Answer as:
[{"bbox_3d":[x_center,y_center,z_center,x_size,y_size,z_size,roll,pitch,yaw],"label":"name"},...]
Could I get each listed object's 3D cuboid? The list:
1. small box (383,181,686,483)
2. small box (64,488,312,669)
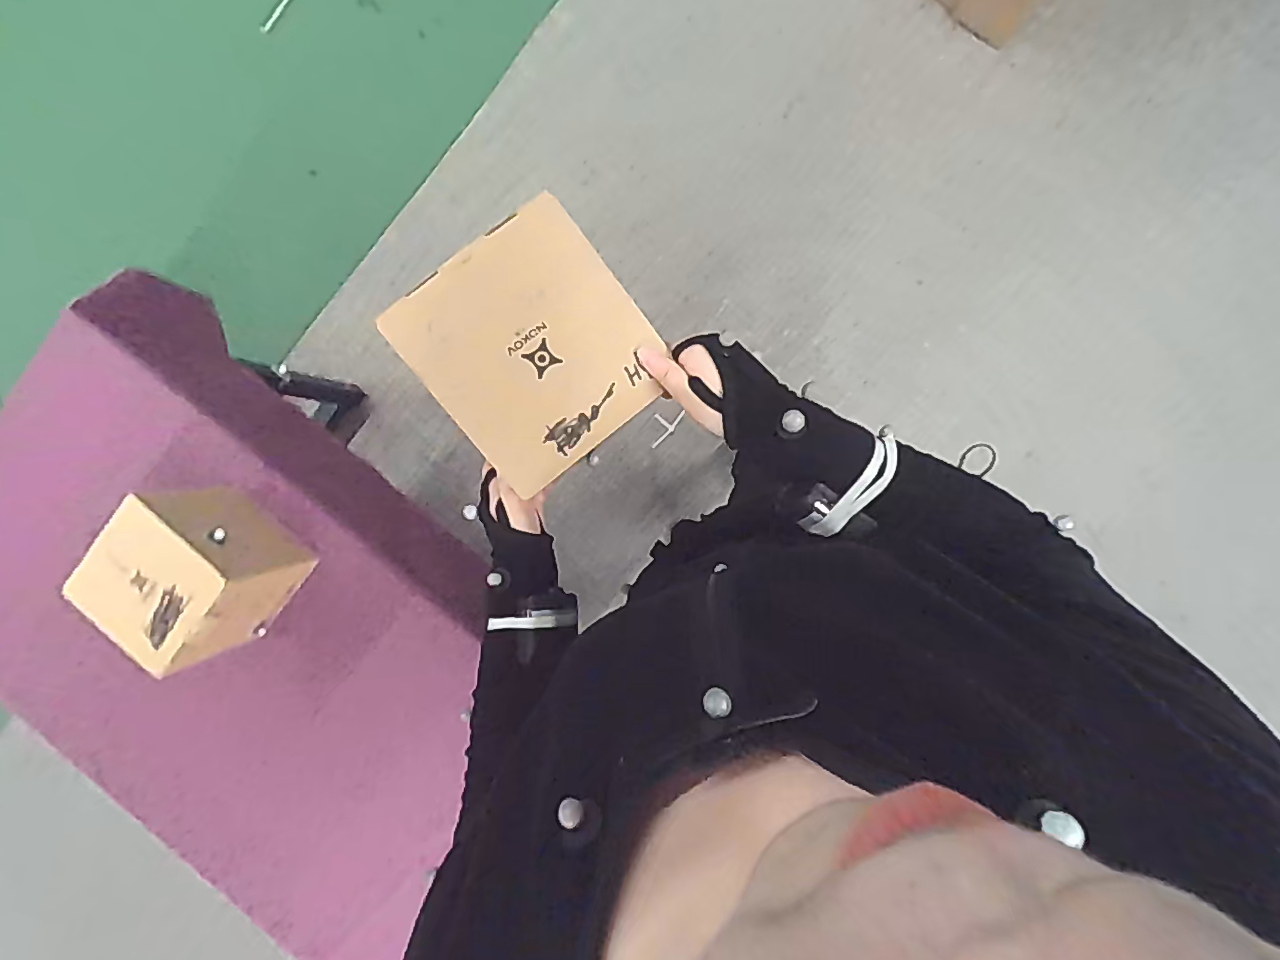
[{"bbox_3d":[-0.087,-0.116,0.490,0.168,0.176,0.179,-37,99,-3],"label":"small box"},{"bbox_3d":[-0.617,0.122,0.762,0.179,0.176,0.168,40,96,3],"label":"small box"}]
